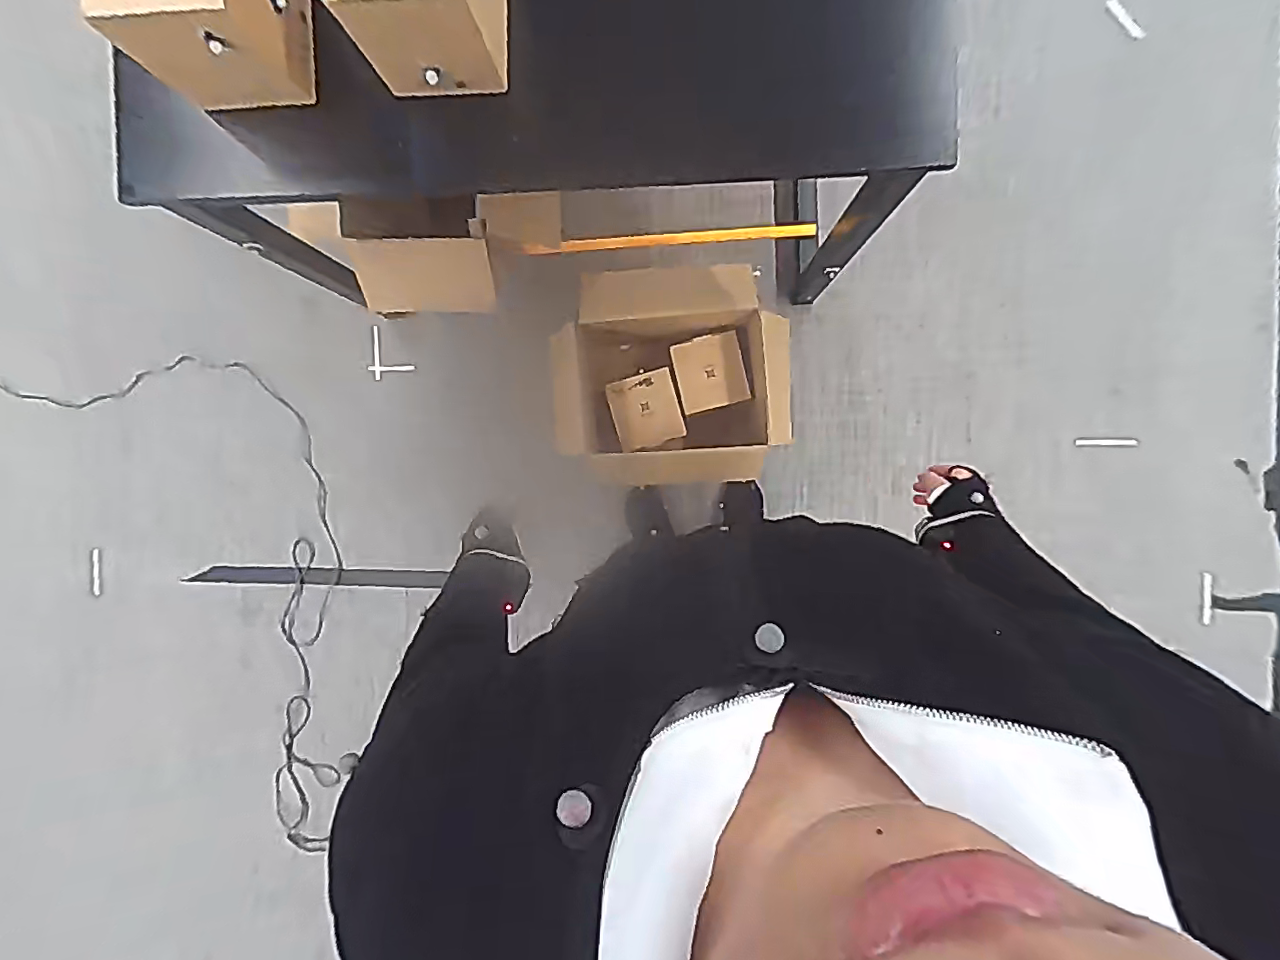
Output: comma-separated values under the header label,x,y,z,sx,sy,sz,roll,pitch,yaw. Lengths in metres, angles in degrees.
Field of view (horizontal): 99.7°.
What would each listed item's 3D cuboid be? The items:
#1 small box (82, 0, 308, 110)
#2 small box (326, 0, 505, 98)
label,x,y,z,sx,sy,sz,roll,pitch,yaw
small box,-0.562,-0.619,0.704,0.179,0.176,0.168,-2,91,3
small box,-0.277,-0.632,0.690,0.168,0.176,0.179,0,92,3
